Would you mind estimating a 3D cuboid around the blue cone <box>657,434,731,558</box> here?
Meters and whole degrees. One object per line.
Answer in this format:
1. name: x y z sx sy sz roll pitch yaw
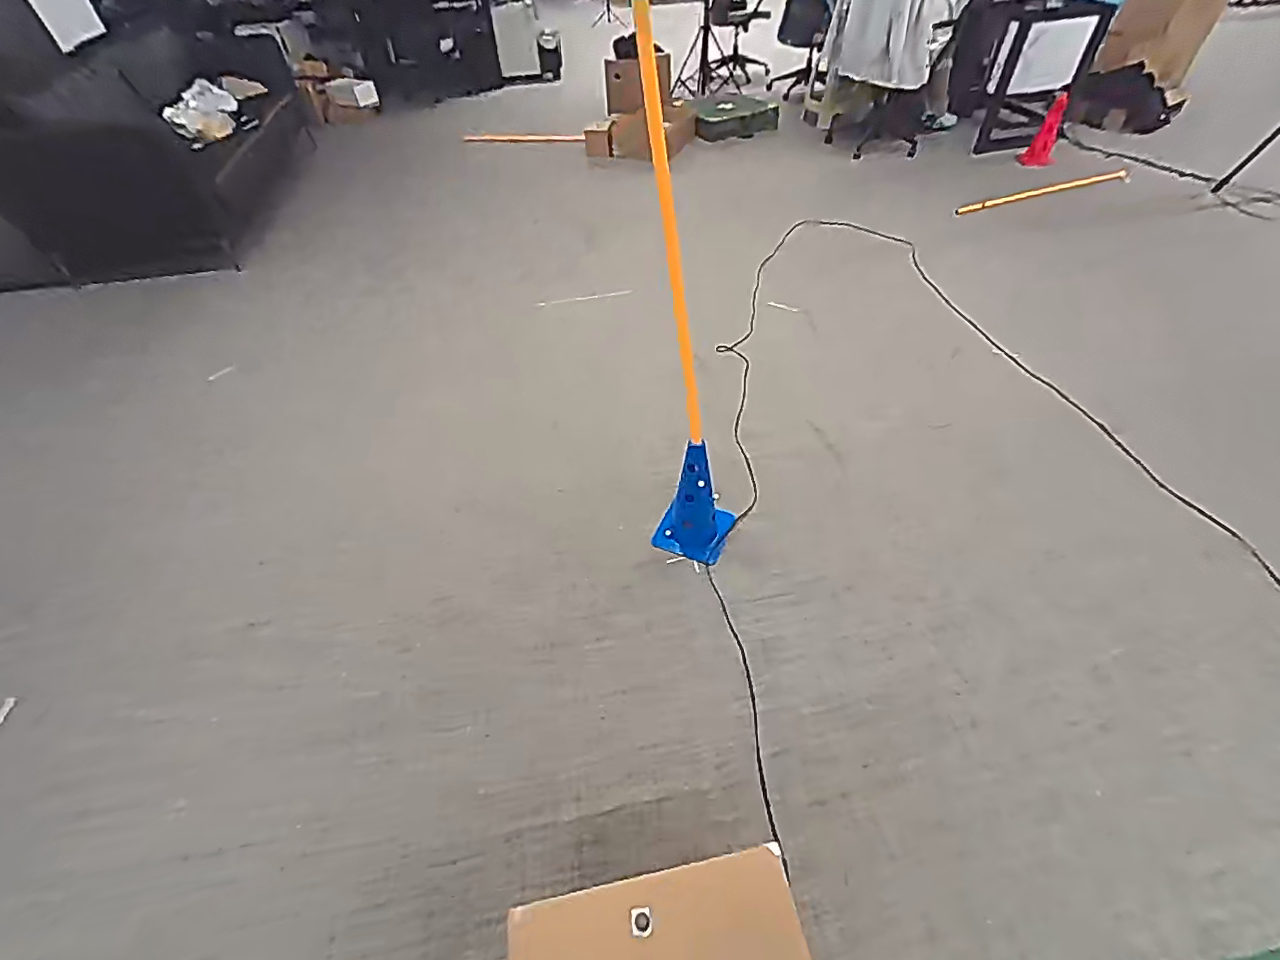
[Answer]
1. blue cone: 0.148 0.027 1.451 0.192 0.380 0.193 15 51 17
